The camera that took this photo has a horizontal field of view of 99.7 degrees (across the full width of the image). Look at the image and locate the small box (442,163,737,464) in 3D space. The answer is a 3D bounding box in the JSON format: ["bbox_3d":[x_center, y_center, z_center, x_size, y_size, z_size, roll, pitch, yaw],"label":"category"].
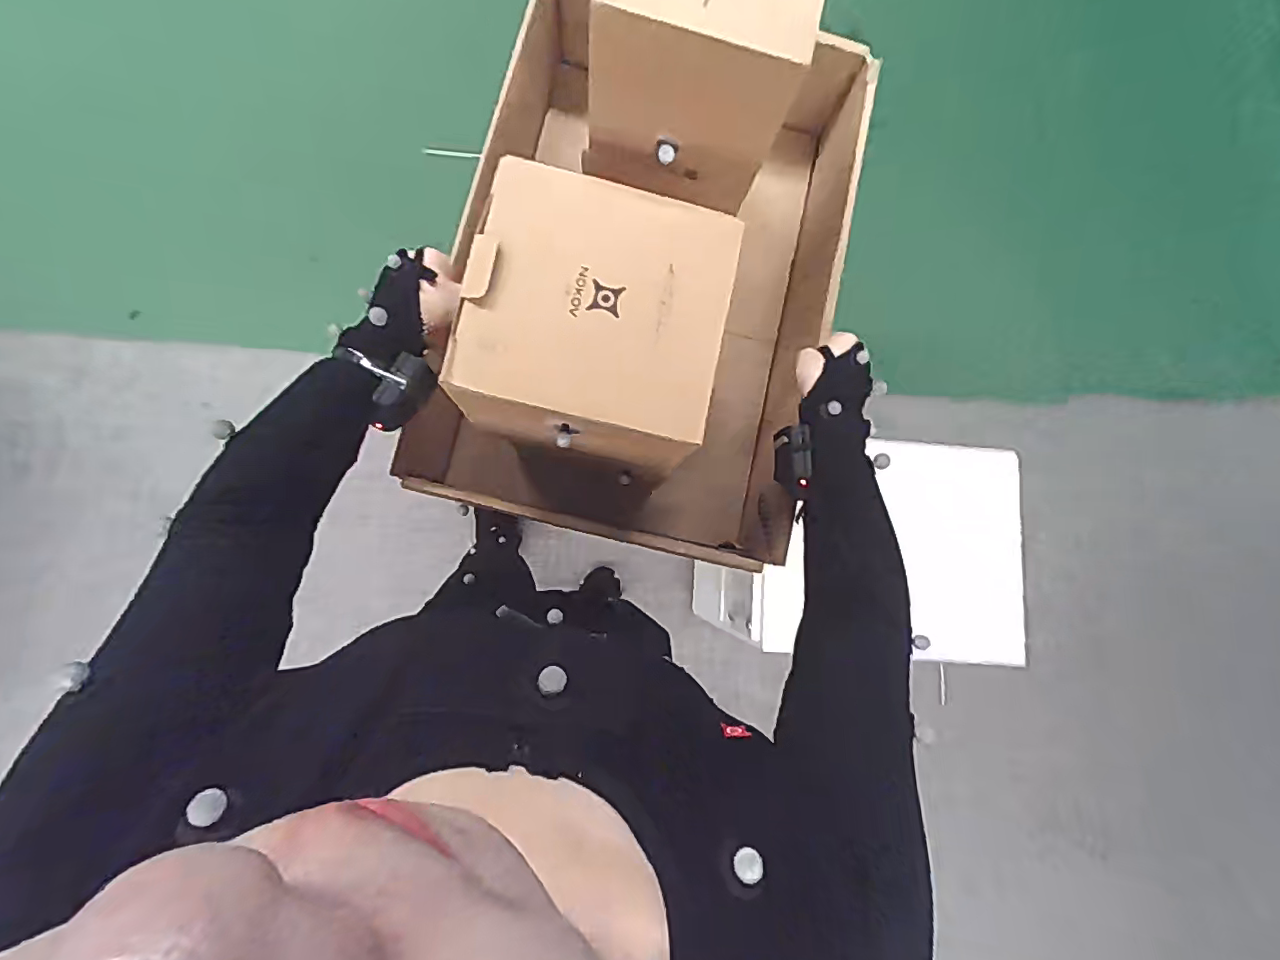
[{"bbox_3d":[-0.039,-0.114,0.446,0.179,0.176,0.168,12,84,-6],"label":"small box"}]
